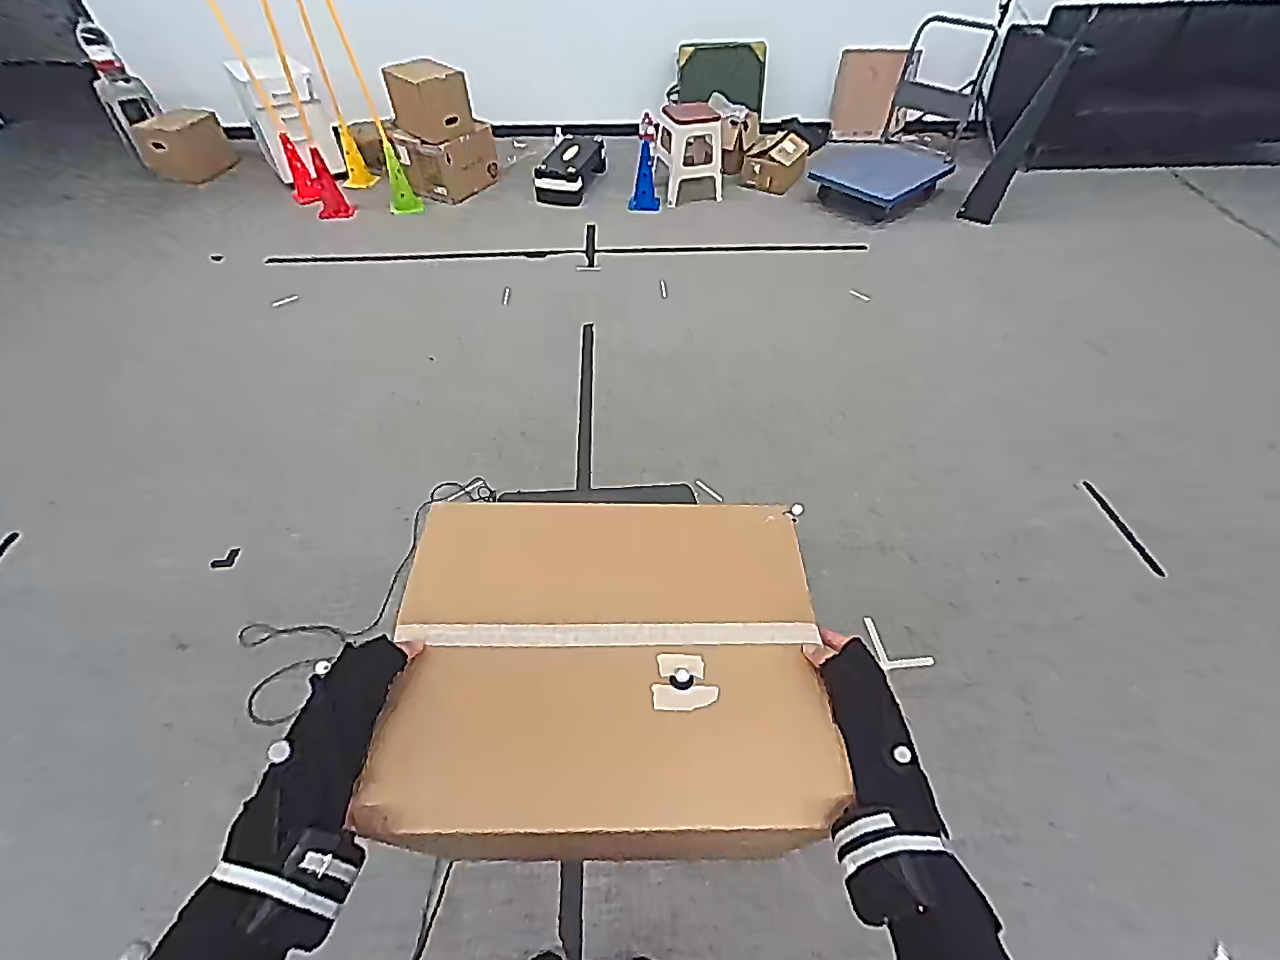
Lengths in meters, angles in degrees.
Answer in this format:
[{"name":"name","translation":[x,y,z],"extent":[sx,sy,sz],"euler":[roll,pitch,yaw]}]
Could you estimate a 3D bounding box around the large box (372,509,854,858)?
[{"name":"large box","translation":[-0.028,0.248,0.647],"extent":[0.408,0.320,0.320],"euler":[1,51,-2]}]
